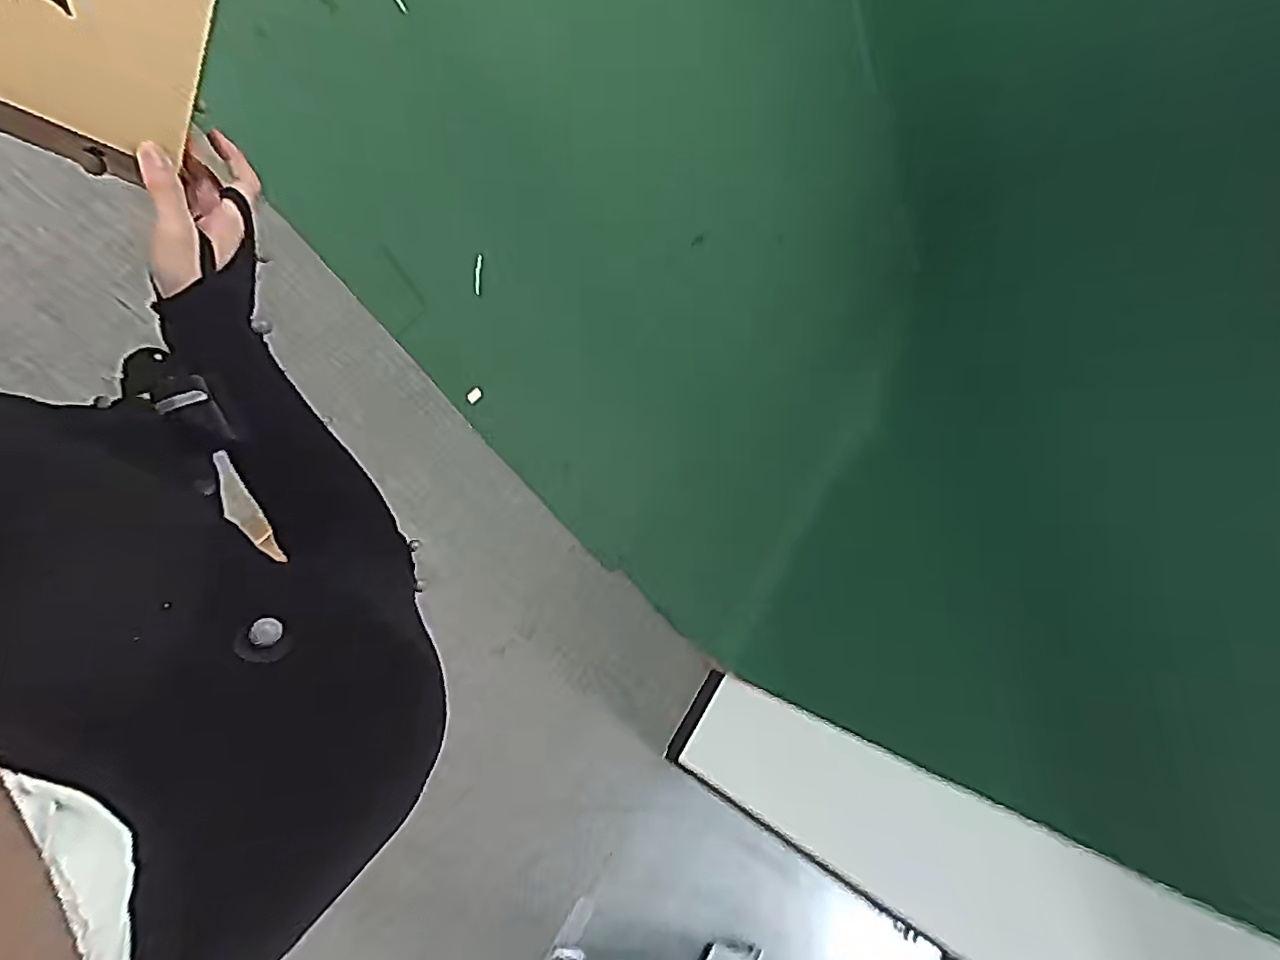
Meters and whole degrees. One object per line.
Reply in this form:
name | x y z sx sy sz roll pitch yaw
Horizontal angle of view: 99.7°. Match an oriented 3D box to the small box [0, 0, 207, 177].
small box | -0.444 -0.344 0.390 0.179 0.176 0.168 11 97 -47
